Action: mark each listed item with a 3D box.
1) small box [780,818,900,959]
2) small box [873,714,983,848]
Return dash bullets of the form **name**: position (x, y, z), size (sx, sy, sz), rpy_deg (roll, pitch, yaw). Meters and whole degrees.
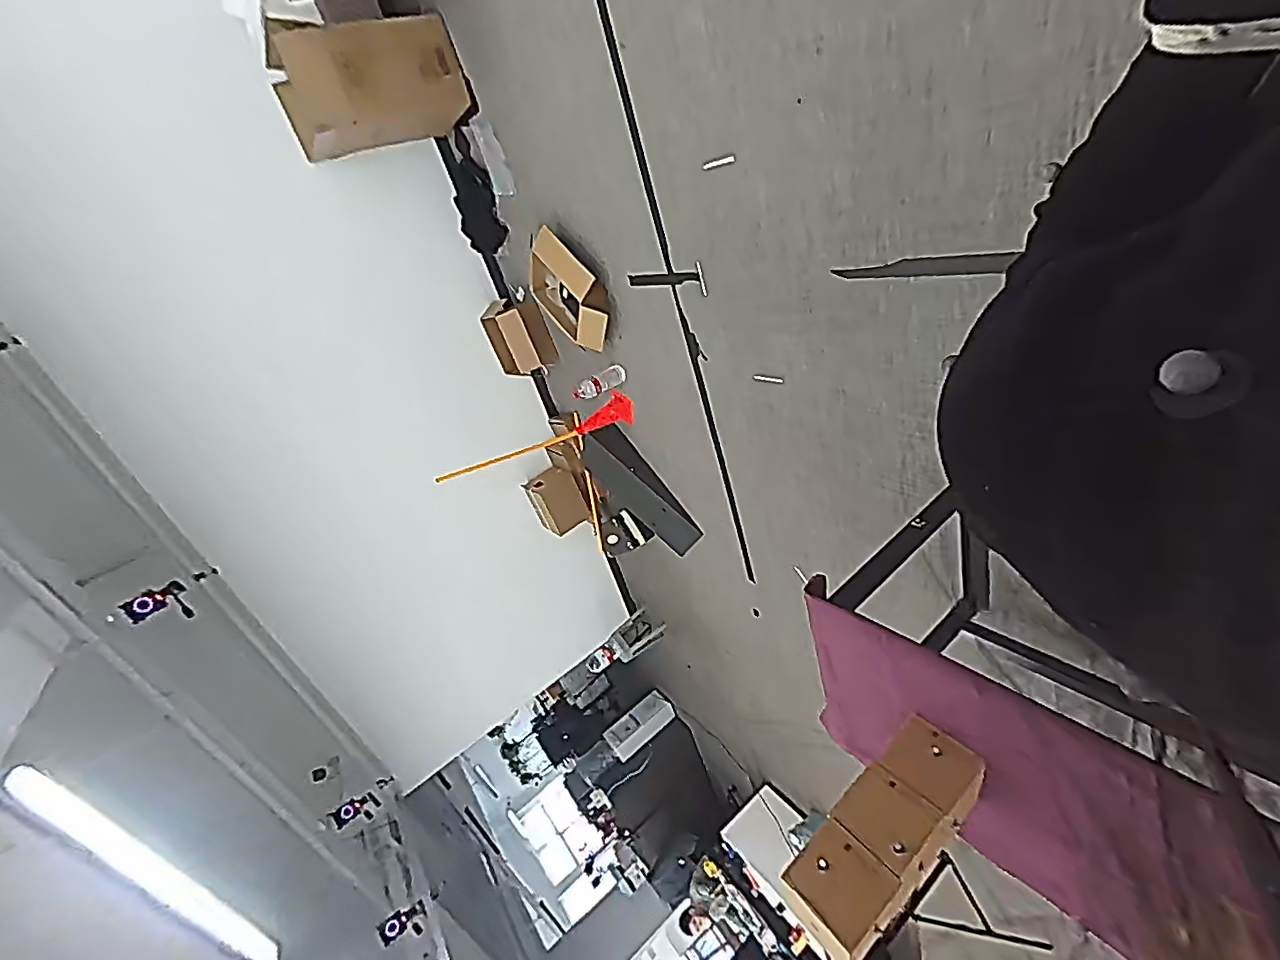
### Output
- **small box**: position (0.414, 0.848, 1.118), size (0.168, 0.176, 0.179), rpy_deg (32, 147, 46)
- **small box**: position (0.665, 0.691, 1.254), size (0.168, 0.176, 0.179), rpy_deg (29, 144, 47)
